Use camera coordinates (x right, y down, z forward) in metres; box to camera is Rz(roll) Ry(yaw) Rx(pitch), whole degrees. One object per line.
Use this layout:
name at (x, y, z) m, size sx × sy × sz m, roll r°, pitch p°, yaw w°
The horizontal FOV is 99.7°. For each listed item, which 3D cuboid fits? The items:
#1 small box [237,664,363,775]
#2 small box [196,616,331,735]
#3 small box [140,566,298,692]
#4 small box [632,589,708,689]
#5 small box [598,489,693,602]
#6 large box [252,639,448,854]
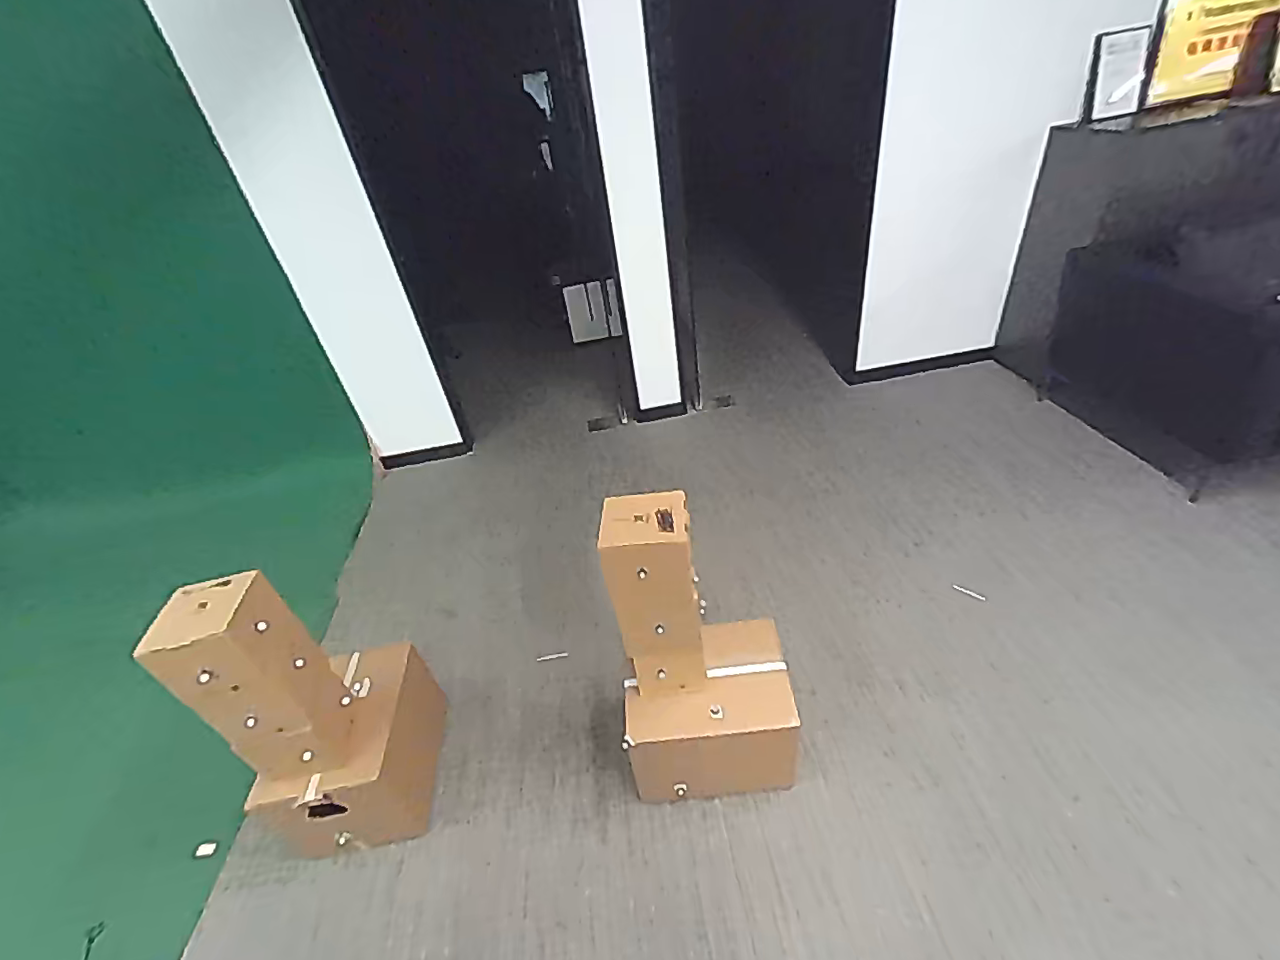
small box at (-0.800, 0.576, 1.298) m, size 0.179 × 0.176 × 0.168 m, roll -12°, pitch 36°, yaw -2°
small box at (-0.822, 0.441, 1.207) m, size 0.168 × 0.176 × 0.179 m, roll -14°, pitch 35°, yaw -6°
small box at (-0.843, 0.311, 1.109) m, size 0.168 × 0.176 × 0.179 m, roll -13°, pitch 37°, yaw -4°
small box at (0.074, 0.399, 1.339) m, size 0.168 × 0.176 × 0.179 m, roll -7°, pitch 35°, yaw 3°
small box at (0.020, 0.139, 1.145) m, size 0.179 × 0.176 × 0.168 m, roll -6°, pitch 35°, yaw 8°
large box at (-0.760, 0.726, 1.499) m, size 0.320 × 0.320 × 0.408 m, roll -11°, pitch 35°, yaw -2°
